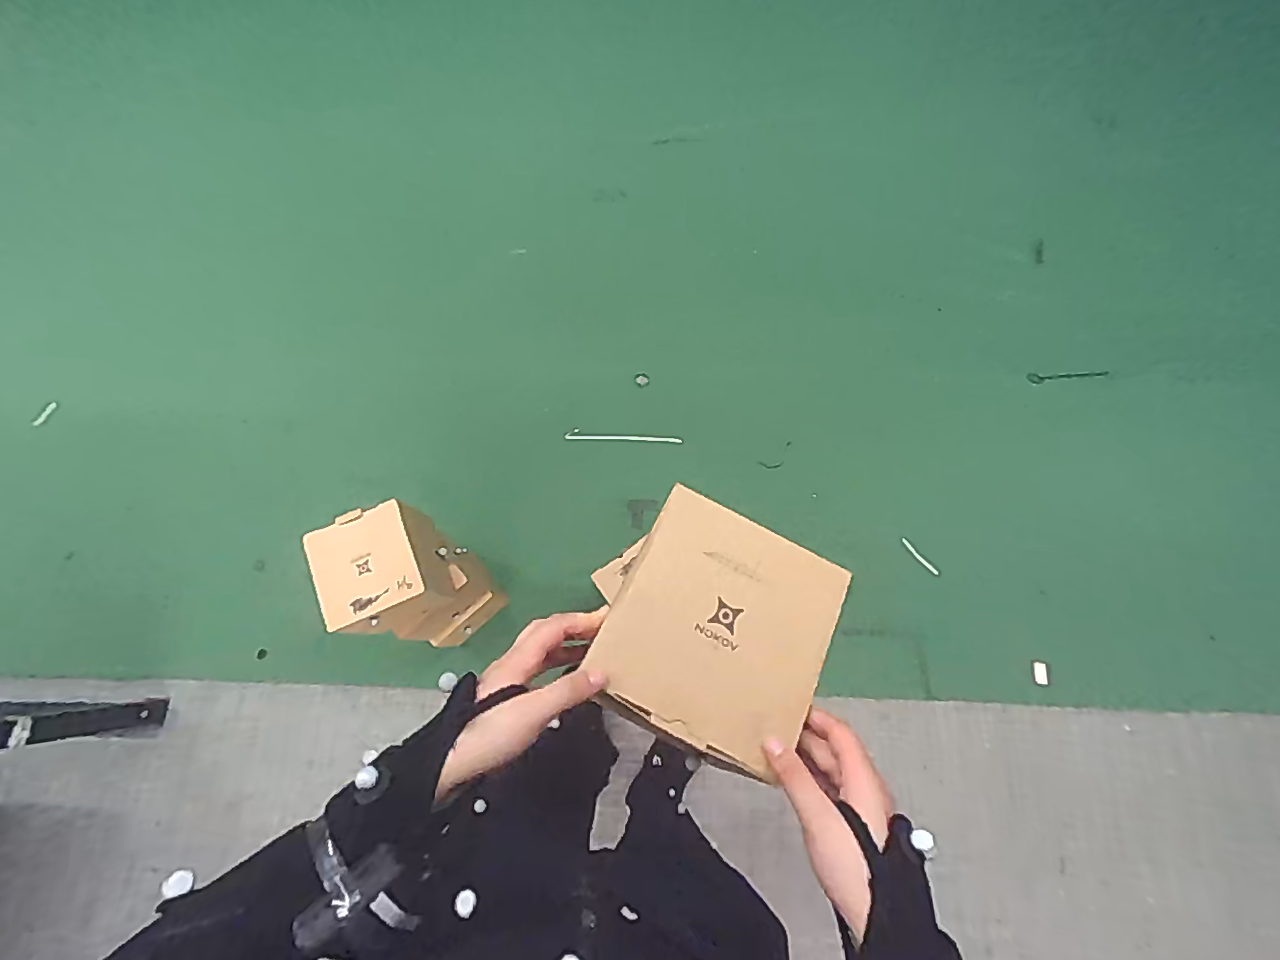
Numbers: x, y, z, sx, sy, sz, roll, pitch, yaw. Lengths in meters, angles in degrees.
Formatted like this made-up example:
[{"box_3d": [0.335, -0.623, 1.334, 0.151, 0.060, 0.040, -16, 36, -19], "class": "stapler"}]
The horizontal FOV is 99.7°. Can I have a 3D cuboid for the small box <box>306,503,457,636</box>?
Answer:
[{"box_3d": [-0.451, 0.167, 0.963, 0.168, 0.176, 0.179, -23, 75, -6], "class": "small box"}]

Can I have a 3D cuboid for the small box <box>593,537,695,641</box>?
[{"box_3d": [0.007, 0.262, 1.270, 0.168, 0.176, 0.179, -35, 77, -9], "class": "small box"}]

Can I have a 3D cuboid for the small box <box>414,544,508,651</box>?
[{"box_3d": [-0.439, 0.277, 1.273, 0.168, 0.176, 0.179, -42, 77, -10], "class": "small box"}]
